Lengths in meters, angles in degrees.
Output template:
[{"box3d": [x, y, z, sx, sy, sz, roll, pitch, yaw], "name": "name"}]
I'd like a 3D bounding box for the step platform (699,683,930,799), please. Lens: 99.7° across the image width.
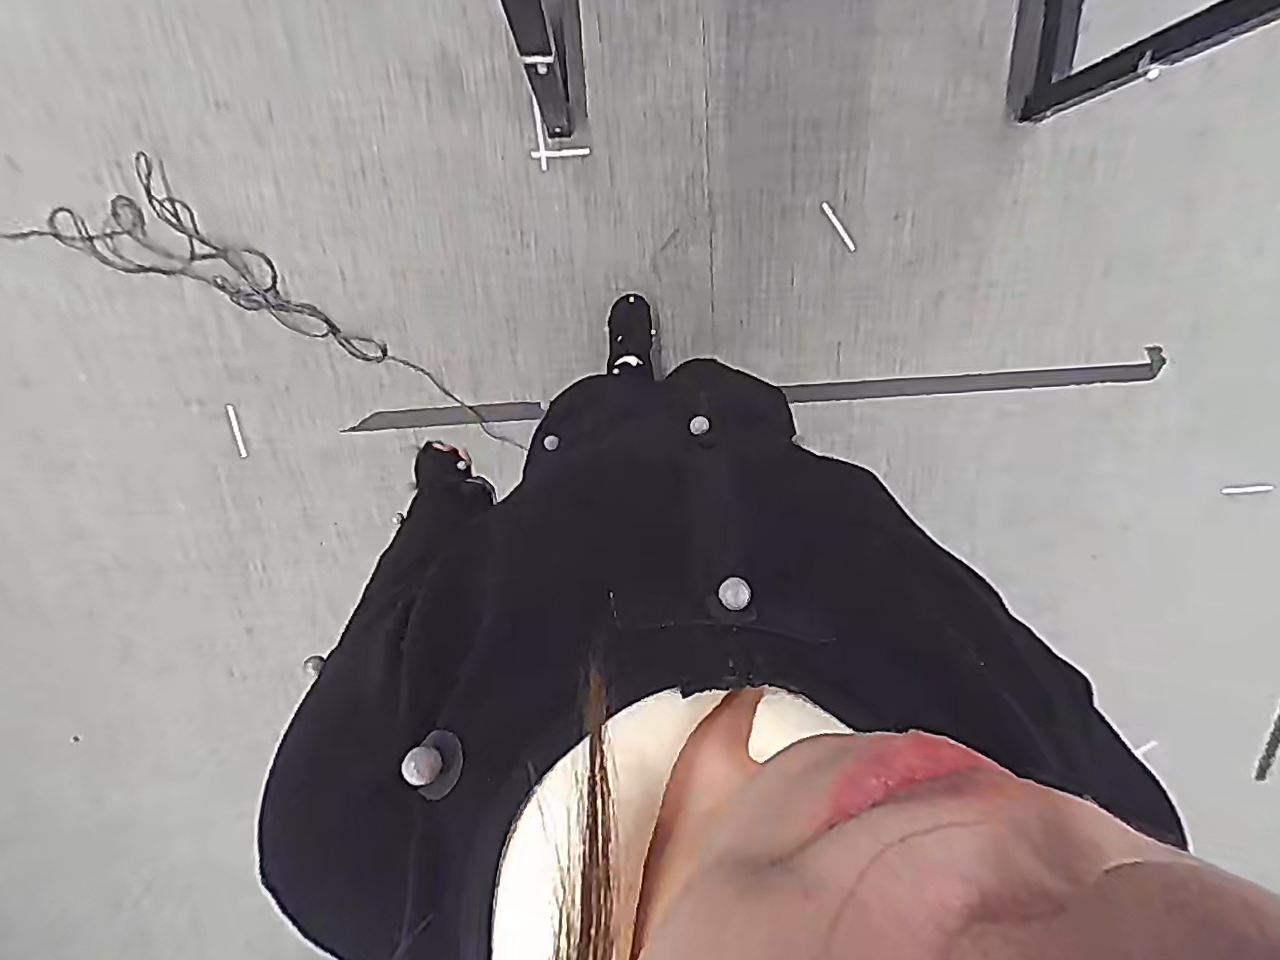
[{"box3d": [0.542, 0.825, 1.713, 0.684, 0.204, 0.286, 1, 108, -5], "name": "step platform"}]
